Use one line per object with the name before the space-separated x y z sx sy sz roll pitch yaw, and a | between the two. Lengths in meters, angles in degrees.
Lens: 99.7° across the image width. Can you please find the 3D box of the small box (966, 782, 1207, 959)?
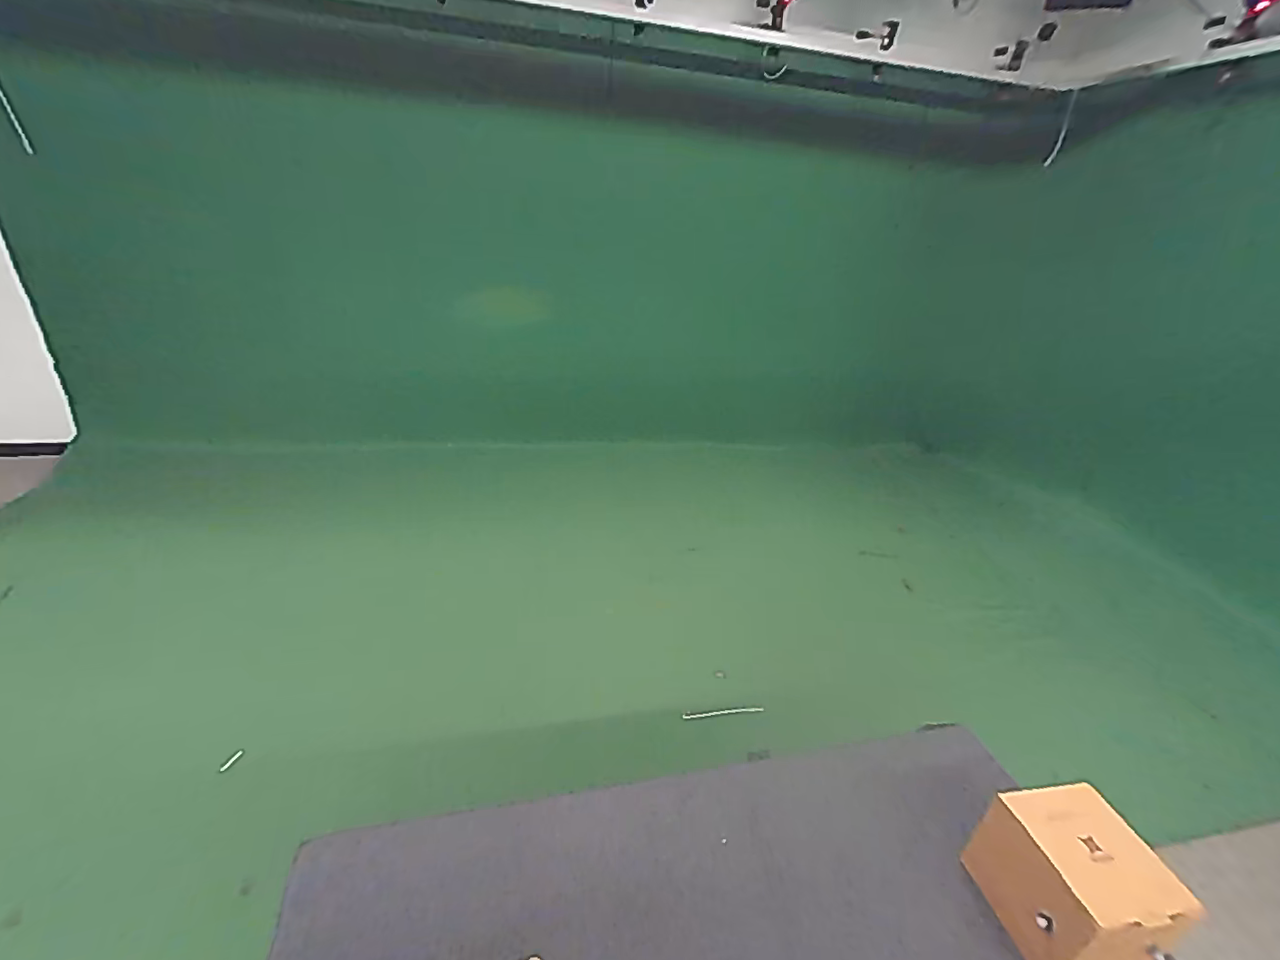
small box | 0.617 0.575 0.774 0.168 0.176 0.179 0 25 -11
